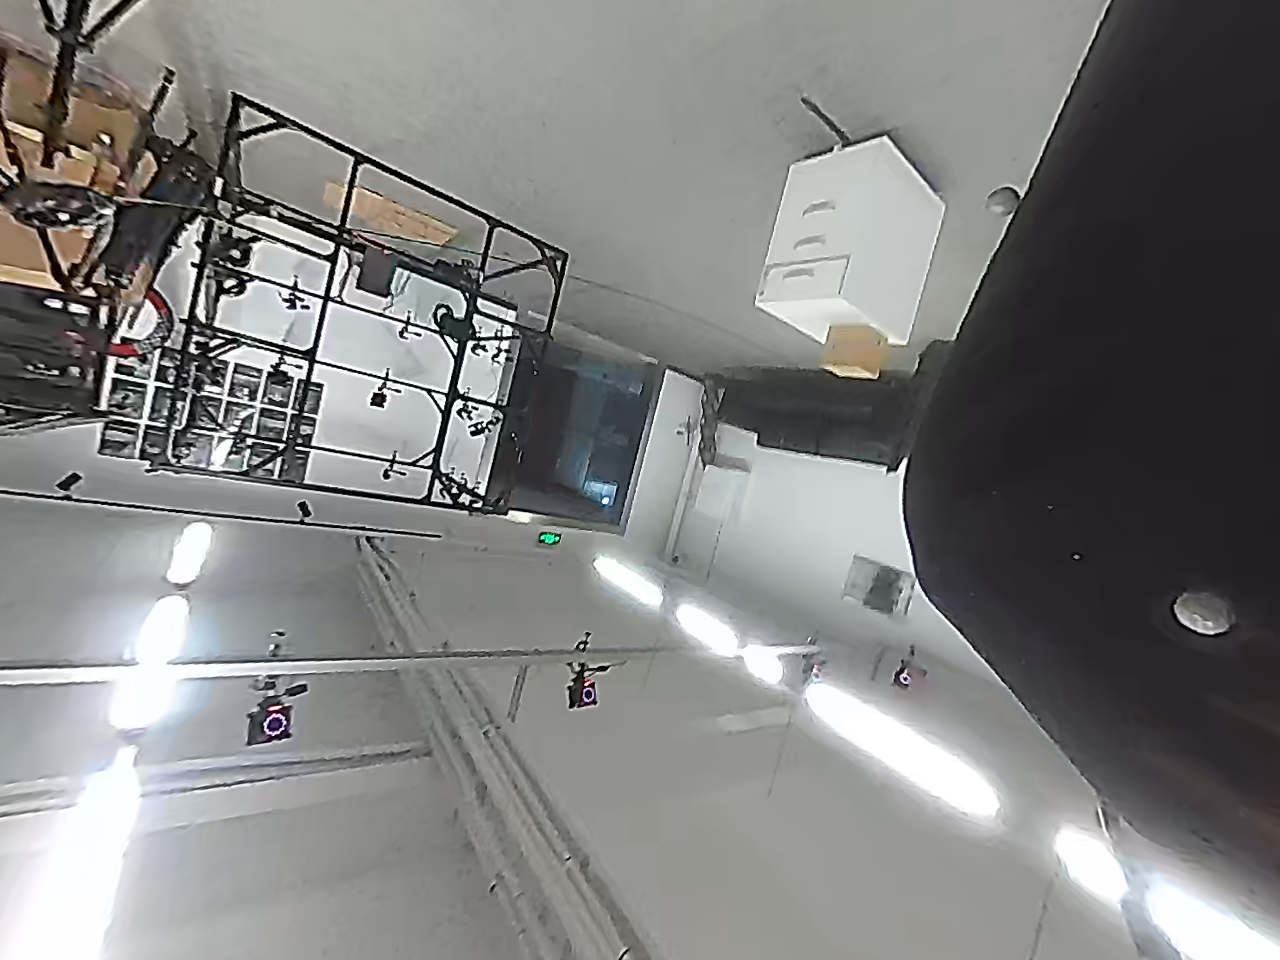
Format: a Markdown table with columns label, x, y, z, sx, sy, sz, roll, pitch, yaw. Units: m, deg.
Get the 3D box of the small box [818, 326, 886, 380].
| label | x | y | z | sx | sy | sz | roll | pitch | yaw |
| --- | --- | --- | --- | --- | --- | --- | --- | --- | --- |
| small box | 0.850 | -0.513 | 2.167 | 0.168 | 0.176 | 0.179 | 11 | -175 | -40 |
